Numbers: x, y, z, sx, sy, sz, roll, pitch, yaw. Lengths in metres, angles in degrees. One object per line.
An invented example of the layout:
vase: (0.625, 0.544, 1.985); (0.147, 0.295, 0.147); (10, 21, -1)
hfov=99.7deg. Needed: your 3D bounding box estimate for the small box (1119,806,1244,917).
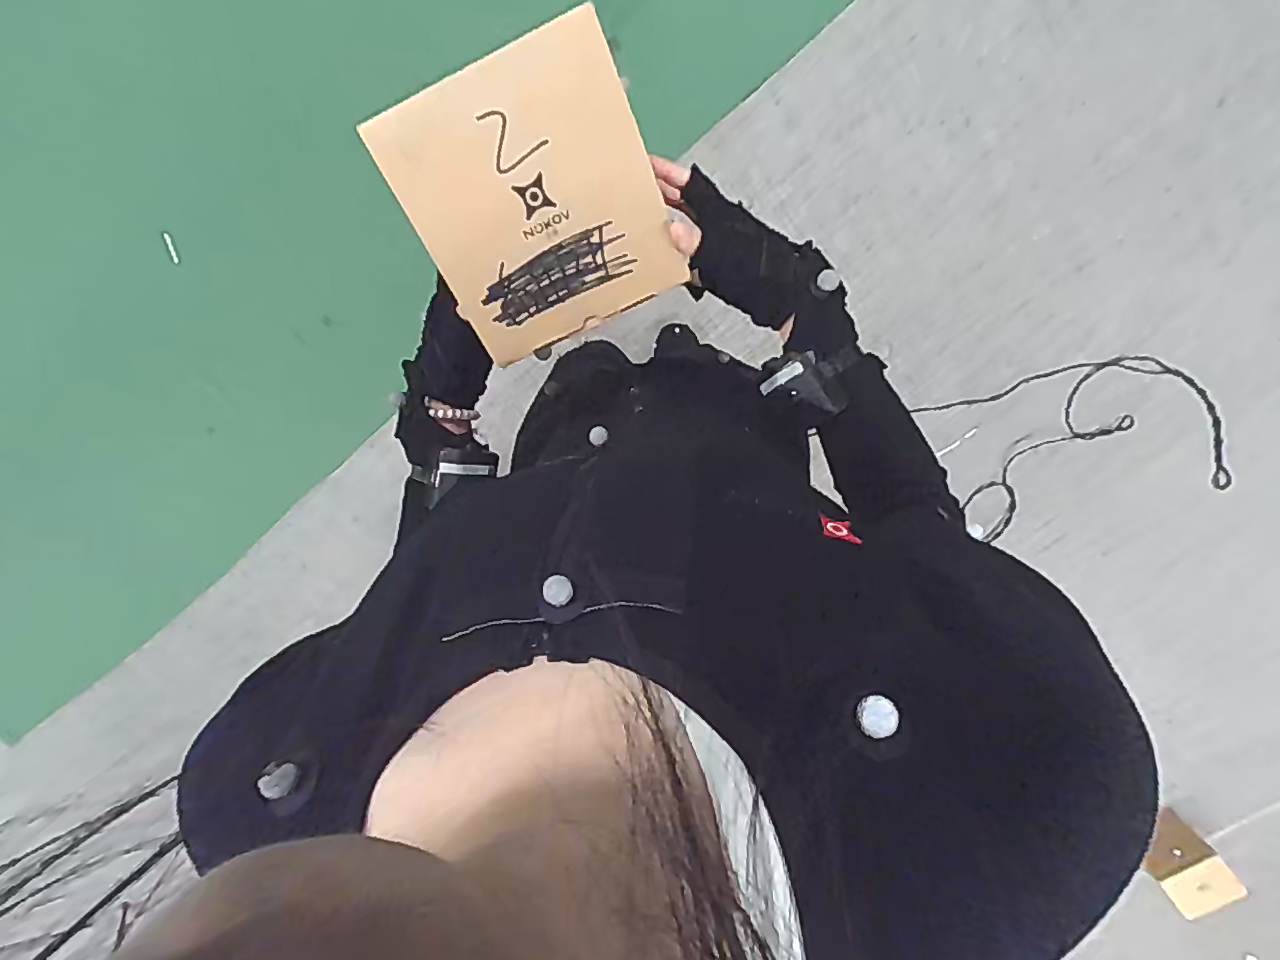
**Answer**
small box: (1.574, 1.116, 1.590); (0.179, 0.176, 0.168); (-39, 98, 12)
